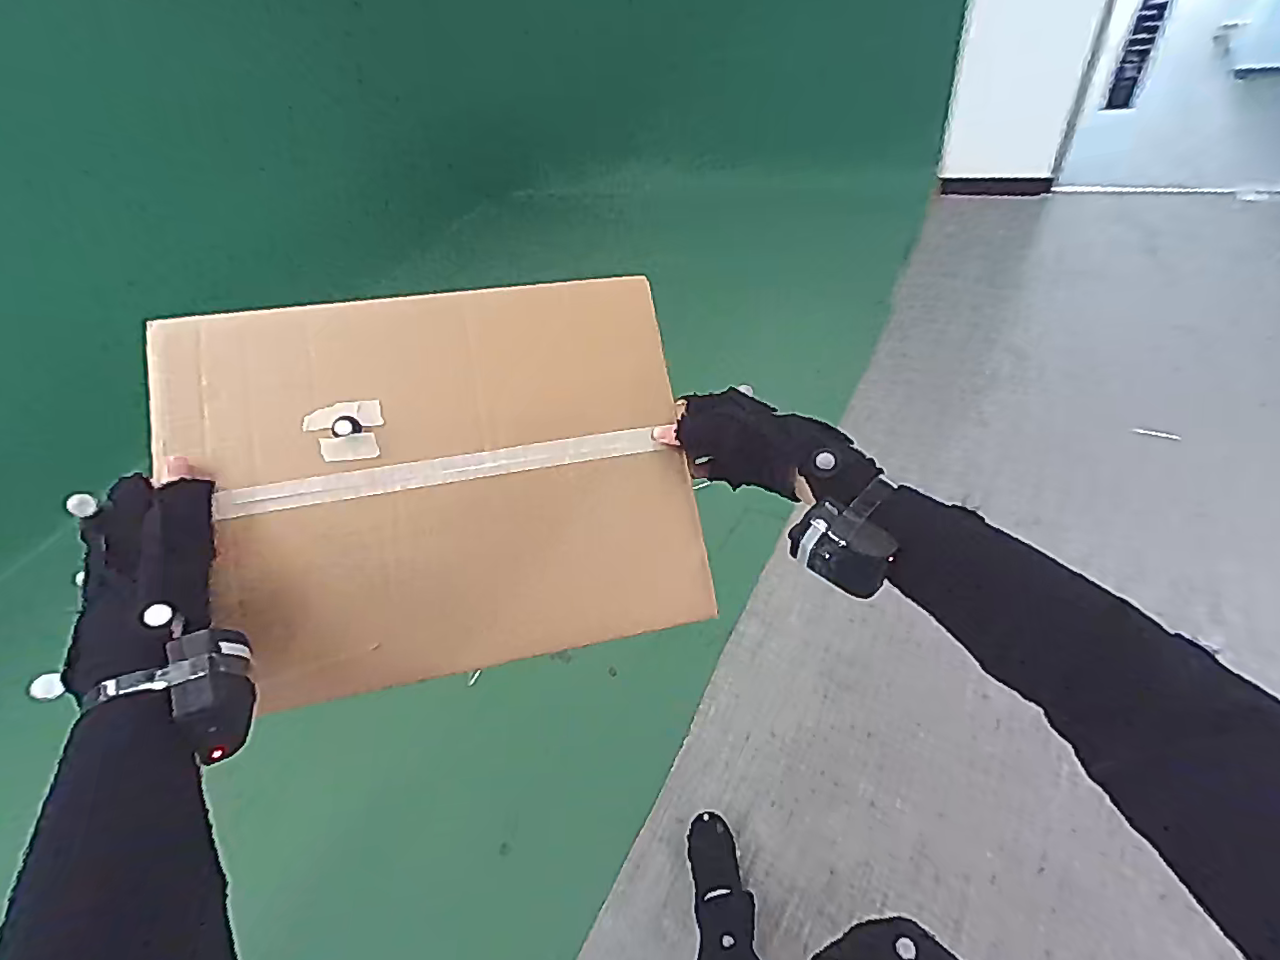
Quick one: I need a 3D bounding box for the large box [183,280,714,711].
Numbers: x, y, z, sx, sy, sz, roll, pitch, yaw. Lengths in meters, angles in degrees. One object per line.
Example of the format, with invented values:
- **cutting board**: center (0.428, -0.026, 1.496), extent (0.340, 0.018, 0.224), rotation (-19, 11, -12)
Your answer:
- **large box**: center (-0.173, 0.017, 0.597), extent (0.408, 0.320, 0.320), rotation (-9, 80, -9)
